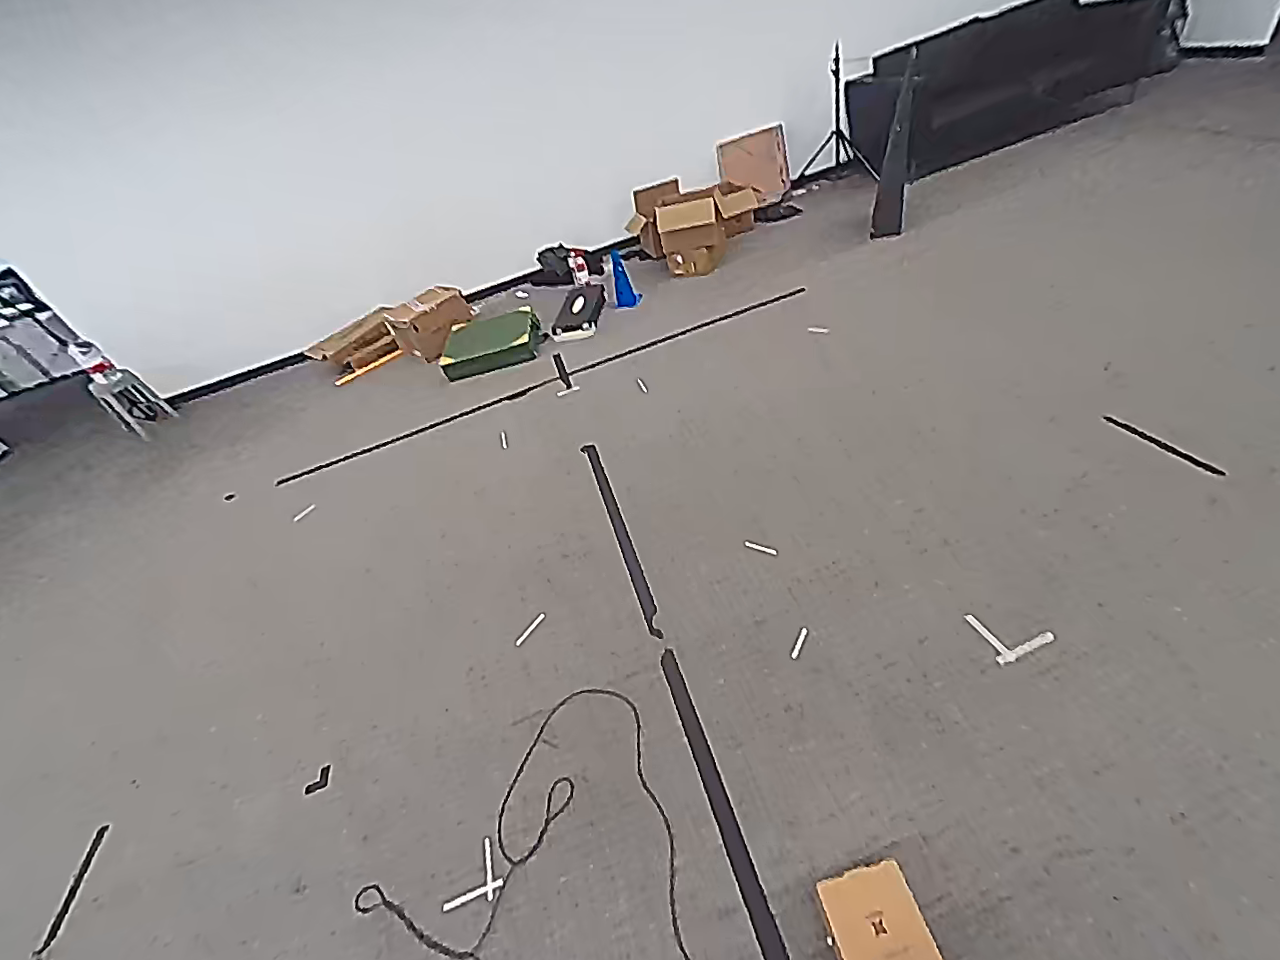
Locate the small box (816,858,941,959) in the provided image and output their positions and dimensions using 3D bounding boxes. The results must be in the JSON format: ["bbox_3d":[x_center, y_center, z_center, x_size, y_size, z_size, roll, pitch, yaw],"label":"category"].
[{"bbox_3d":[0.456,0.882,1.053,0.168,0.176,0.179,-18,39,1],"label":"small box"}]
